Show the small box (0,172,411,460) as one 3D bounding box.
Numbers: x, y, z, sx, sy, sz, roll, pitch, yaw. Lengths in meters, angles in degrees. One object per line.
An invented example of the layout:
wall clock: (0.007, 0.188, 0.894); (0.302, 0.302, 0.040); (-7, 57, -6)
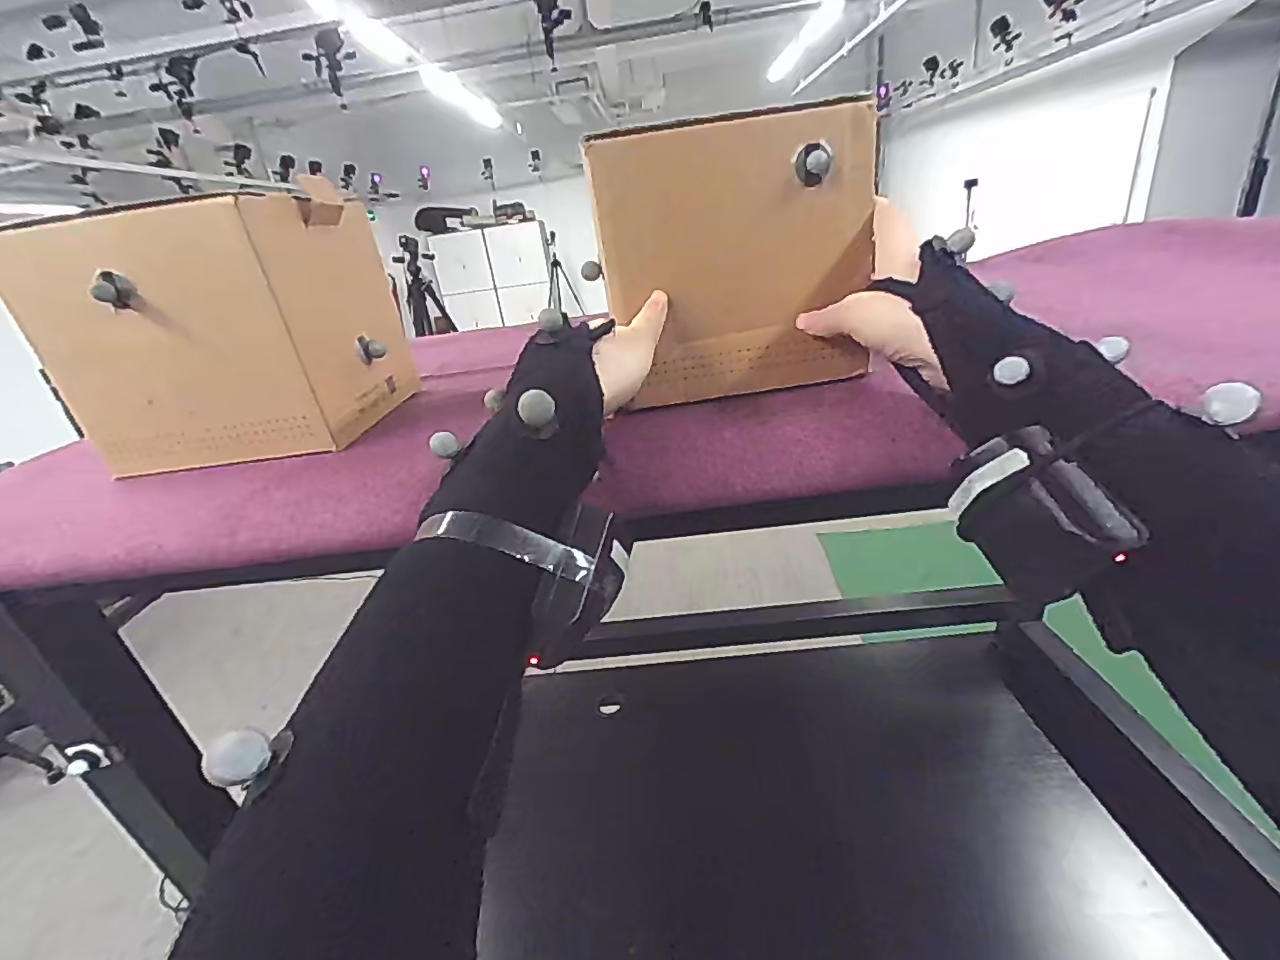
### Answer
small box: (-0.311, -0.123, 0.417); (0.179, 0.176, 0.168); (-7, 27, 3)

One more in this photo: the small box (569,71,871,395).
small box: (0.053, -0.168, 0.404); (0.179, 0.176, 0.168); (-8, 24, -1)
